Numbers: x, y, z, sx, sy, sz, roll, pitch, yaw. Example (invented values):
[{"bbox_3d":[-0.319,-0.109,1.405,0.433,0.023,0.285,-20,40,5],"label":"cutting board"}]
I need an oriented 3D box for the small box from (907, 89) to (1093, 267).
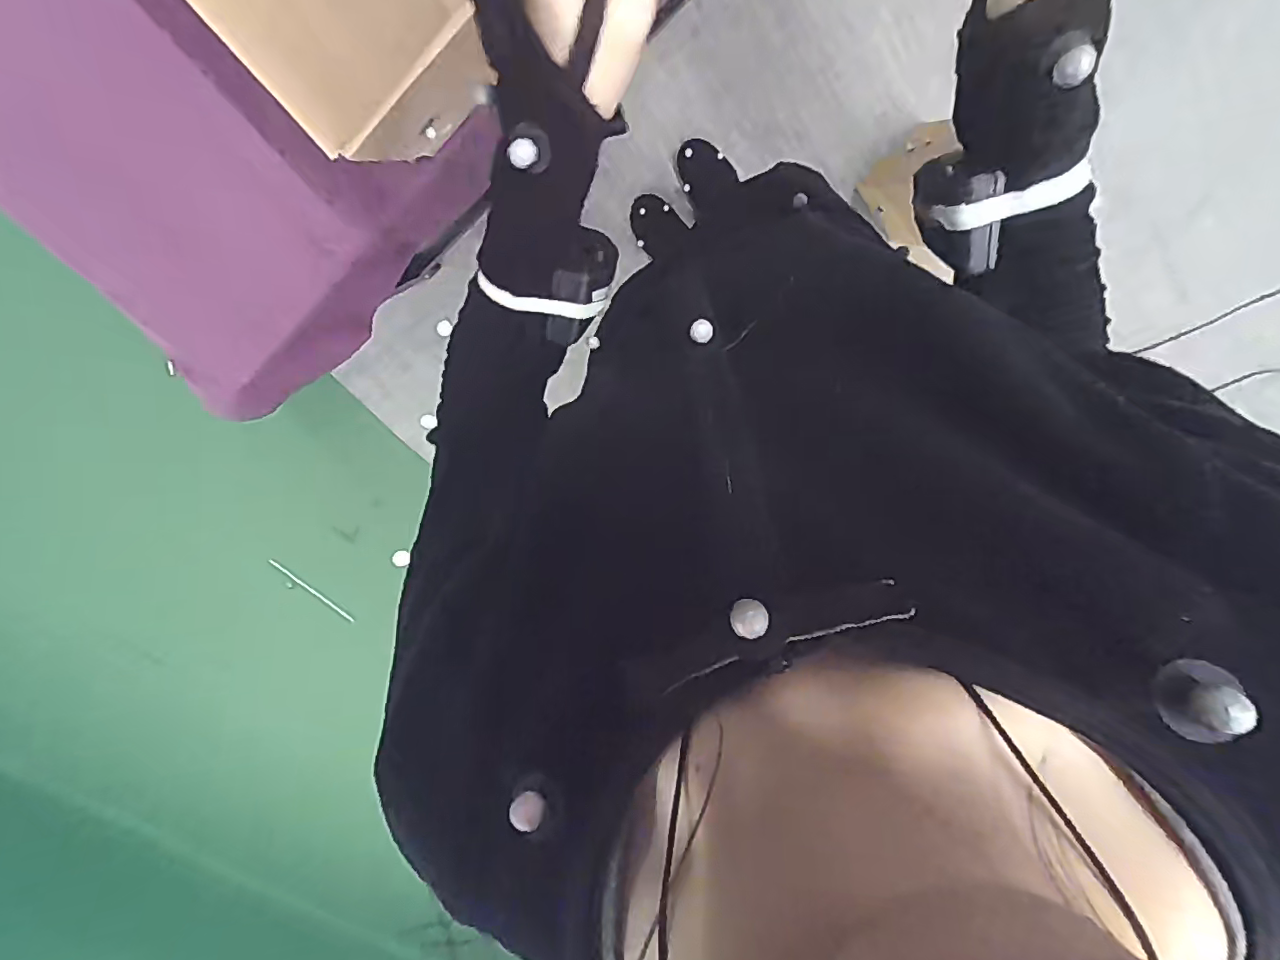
[{"bbox_3d":[0.560,-0.473,0.865,0.168,0.176,0.179,-32,113,21],"label":"small box"}]

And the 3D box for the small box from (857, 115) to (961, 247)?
[{"bbox_3d":[0.589,-0.632,1.152,0.179,0.176,0.168,-39,111,23],"label":"small box"}]
